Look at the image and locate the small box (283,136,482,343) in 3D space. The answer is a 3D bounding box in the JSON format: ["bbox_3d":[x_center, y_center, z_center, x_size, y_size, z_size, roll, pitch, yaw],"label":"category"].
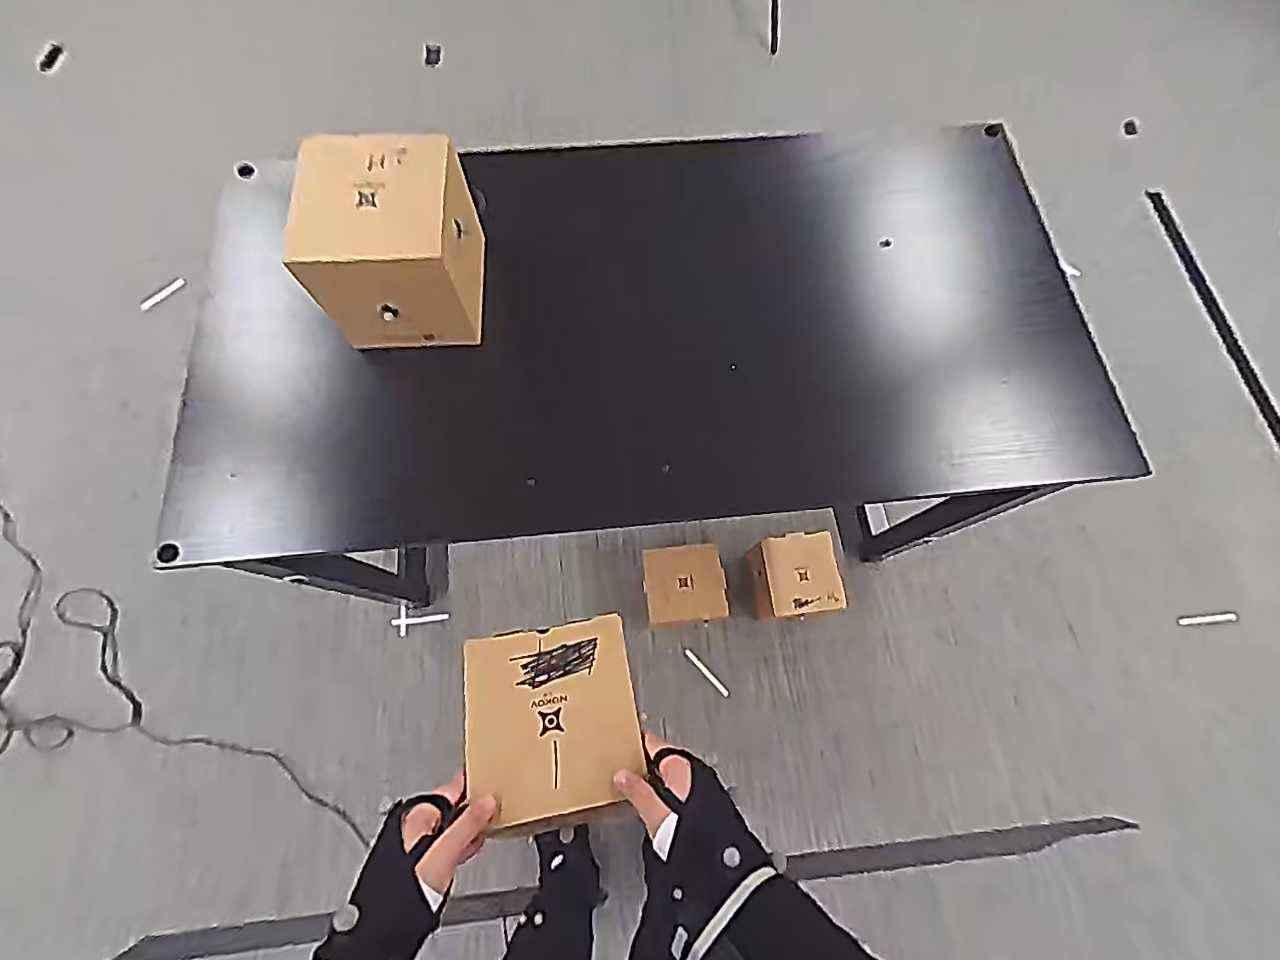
[{"bbox_3d":[-0.298,-0.283,0.666,0.168,0.176,0.179,-3,71,-3],"label":"small box"}]

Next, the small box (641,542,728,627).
[{"bbox_3d":[0.097,0.249,1.269,0.179,0.176,0.168,-6,71,-2],"label":"small box"}]

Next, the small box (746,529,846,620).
[{"bbox_3d":[0.359,0.227,1.280,0.168,0.176,0.179,-7,71,-3],"label":"small box"}]

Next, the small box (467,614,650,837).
[{"bbox_3d":[-0.089,0.272,0.596,0.168,0.176,0.179,-9,56,-7],"label":"small box"}]
